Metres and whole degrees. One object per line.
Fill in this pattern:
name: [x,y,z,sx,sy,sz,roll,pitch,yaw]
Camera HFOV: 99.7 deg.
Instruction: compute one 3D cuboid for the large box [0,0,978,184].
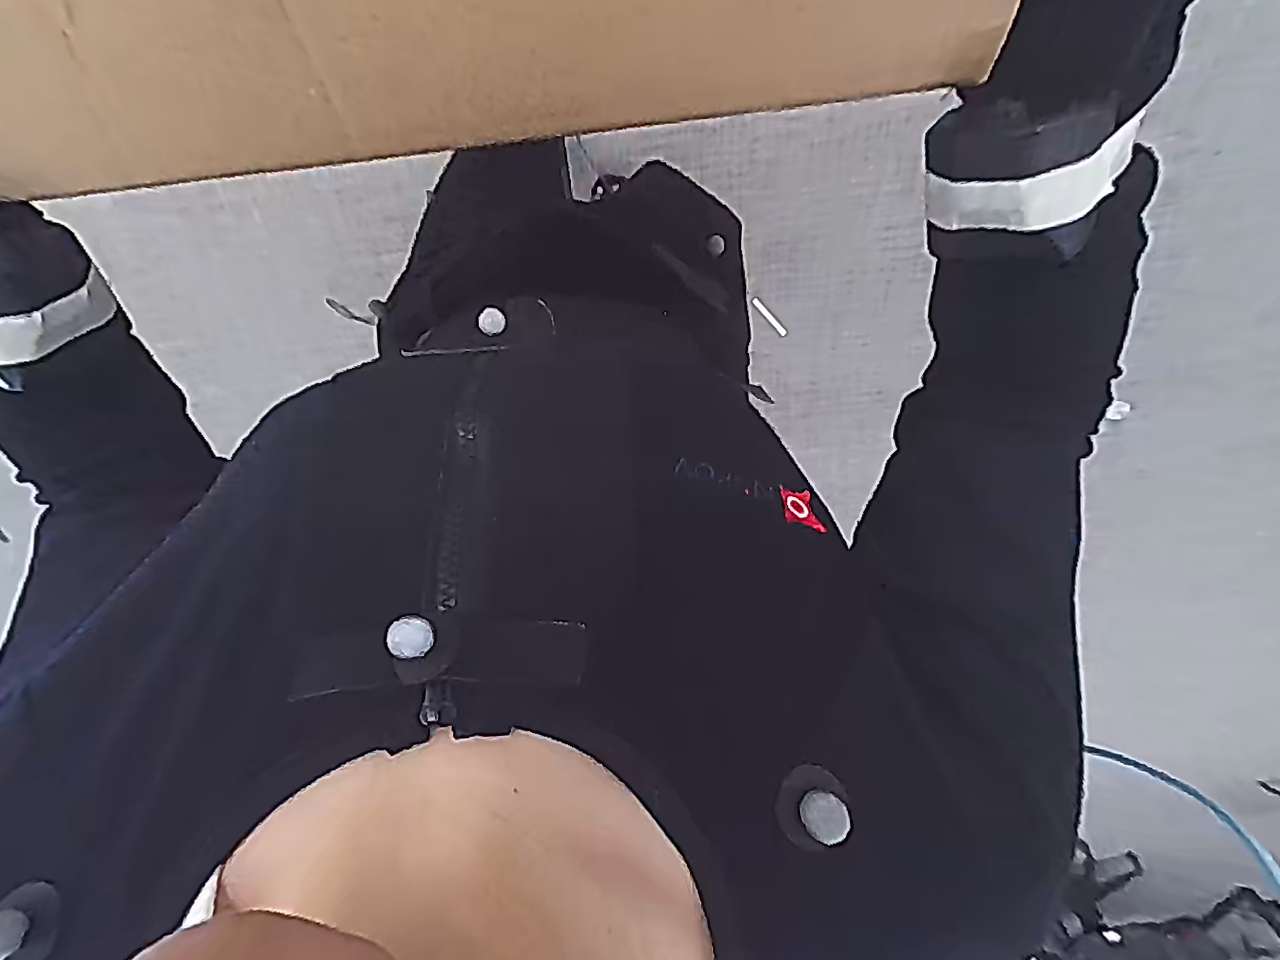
large box: [-0.096,-0.349,0.166,0.408,0.320,0.320,-6,147,2]
